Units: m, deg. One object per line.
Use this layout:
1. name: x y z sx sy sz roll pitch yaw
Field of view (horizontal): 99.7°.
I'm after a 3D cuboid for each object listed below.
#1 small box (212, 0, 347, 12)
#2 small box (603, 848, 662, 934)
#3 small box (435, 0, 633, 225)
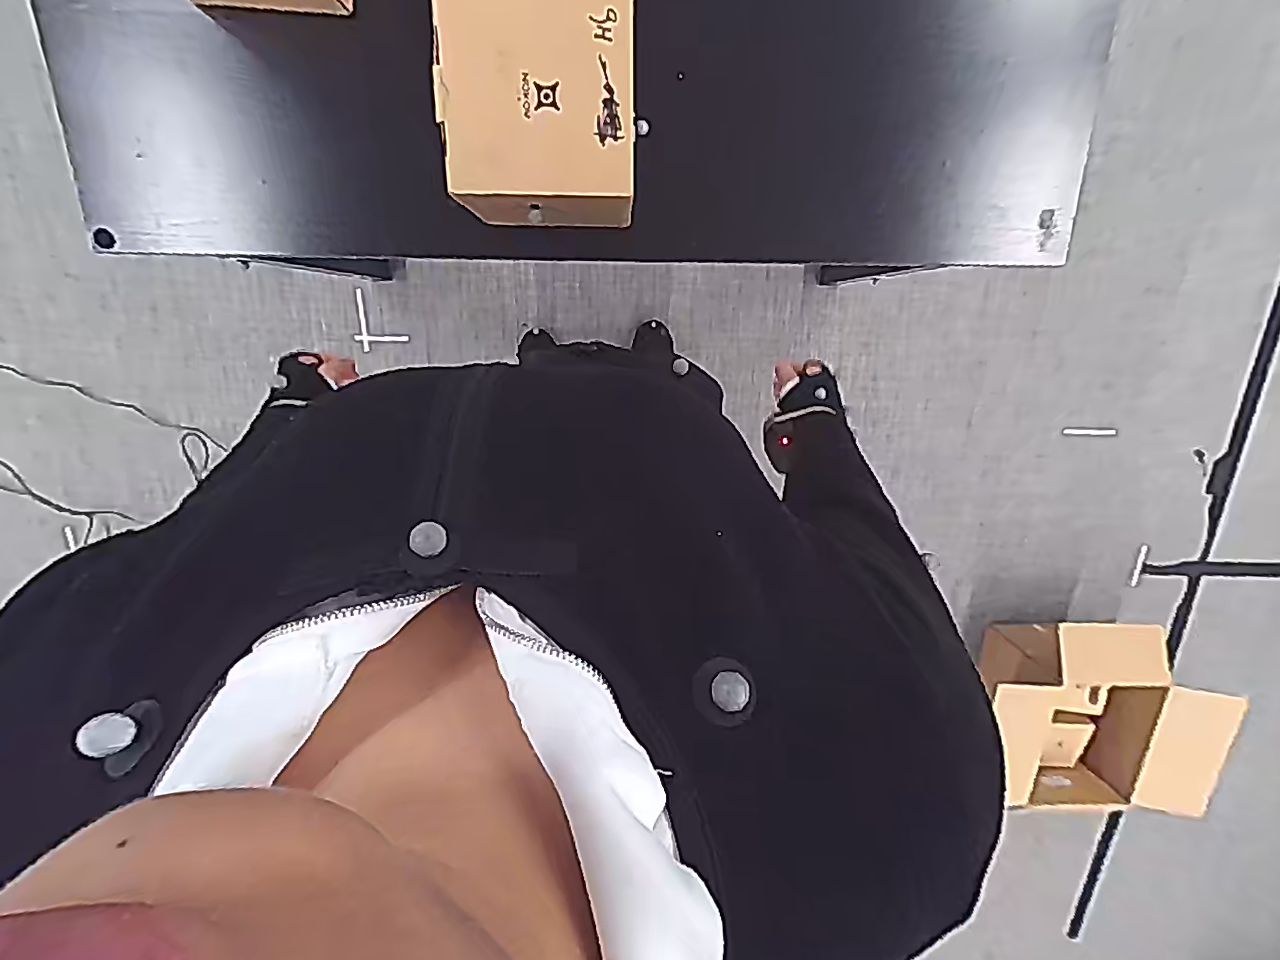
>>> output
1. small box: -0.397 -0.576 0.498 0.179 0.176 0.168 1 107 -4
2. small box: -0.027 1.365 1.802 0.179 0.176 0.168 5 104 -2
3. small box: -0.097 -0.373 0.571 0.179 0.176 0.168 0 106 -2
